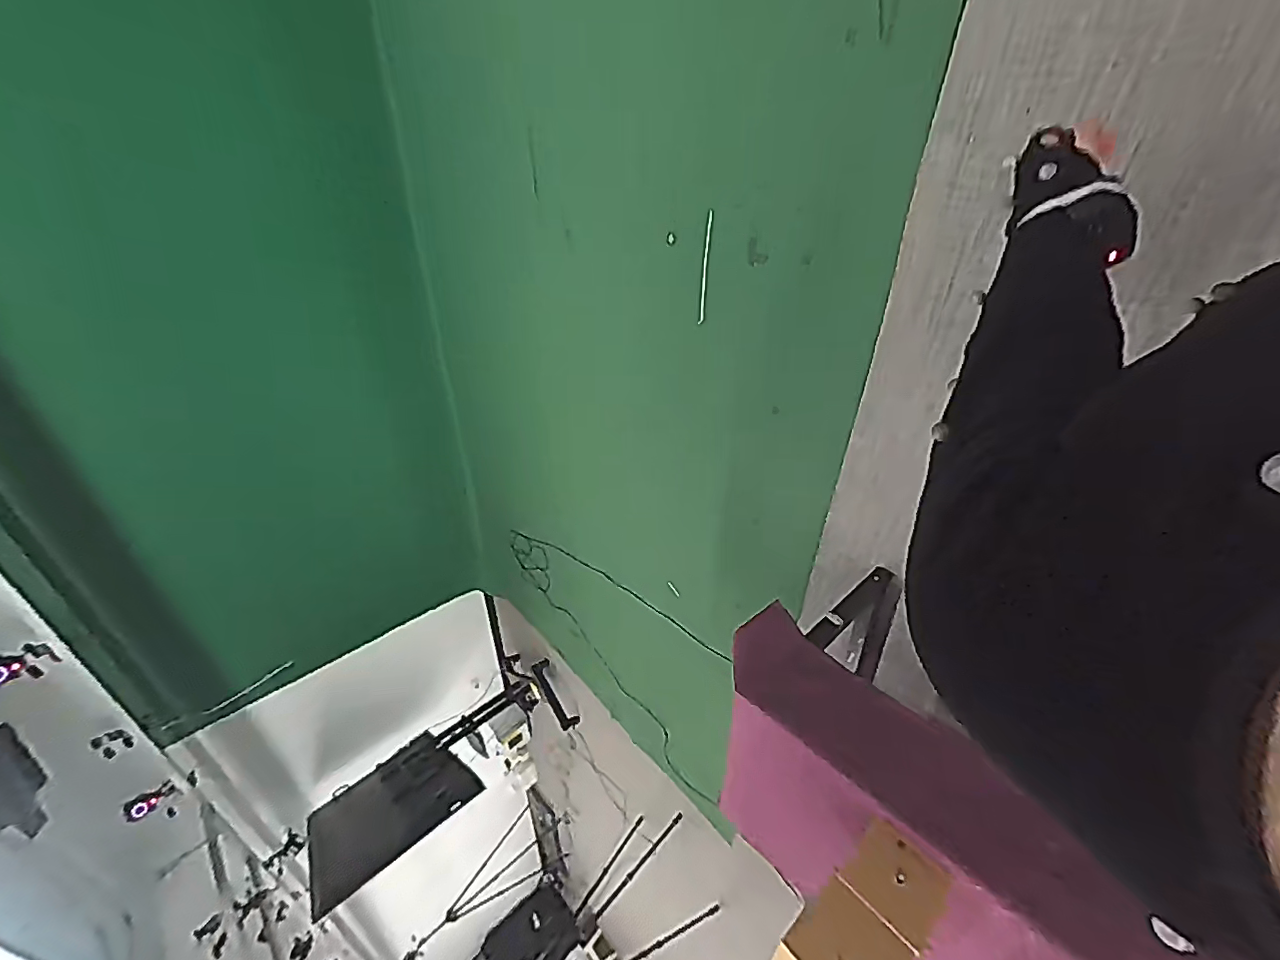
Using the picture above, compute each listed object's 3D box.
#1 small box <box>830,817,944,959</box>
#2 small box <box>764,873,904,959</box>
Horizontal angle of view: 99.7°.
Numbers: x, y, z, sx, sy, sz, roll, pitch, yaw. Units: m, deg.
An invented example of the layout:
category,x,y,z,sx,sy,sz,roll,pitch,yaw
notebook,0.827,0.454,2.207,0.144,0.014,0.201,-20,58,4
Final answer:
category,x,y,z,sx,sy,sz,roll,pitch,yaw
small box,0.489,0.841,1.104,0.168,0.176,0.179,33,135,37
small box,0.362,0.900,1.017,0.179,0.176,0.168,33,135,37
